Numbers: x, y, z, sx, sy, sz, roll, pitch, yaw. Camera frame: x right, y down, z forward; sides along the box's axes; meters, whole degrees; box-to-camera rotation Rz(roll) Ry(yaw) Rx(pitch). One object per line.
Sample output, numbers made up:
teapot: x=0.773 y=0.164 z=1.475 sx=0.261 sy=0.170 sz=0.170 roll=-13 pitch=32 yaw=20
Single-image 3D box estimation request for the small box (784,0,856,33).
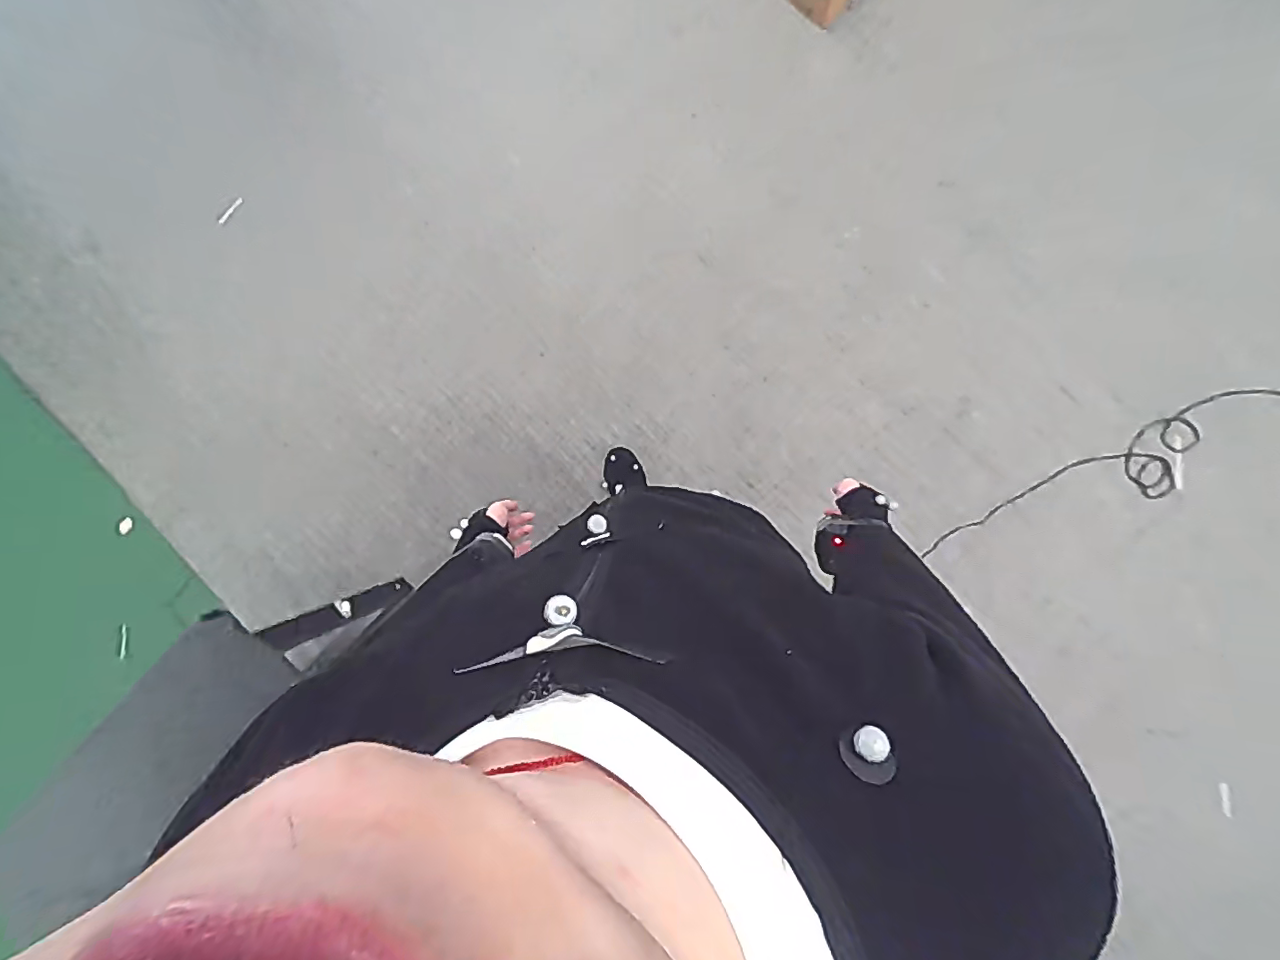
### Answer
small box: x=0.501 y=-1.349 z=1.417 sx=0.179 sy=0.176 sz=0.168 roll=-44 pitch=86 yaw=4
